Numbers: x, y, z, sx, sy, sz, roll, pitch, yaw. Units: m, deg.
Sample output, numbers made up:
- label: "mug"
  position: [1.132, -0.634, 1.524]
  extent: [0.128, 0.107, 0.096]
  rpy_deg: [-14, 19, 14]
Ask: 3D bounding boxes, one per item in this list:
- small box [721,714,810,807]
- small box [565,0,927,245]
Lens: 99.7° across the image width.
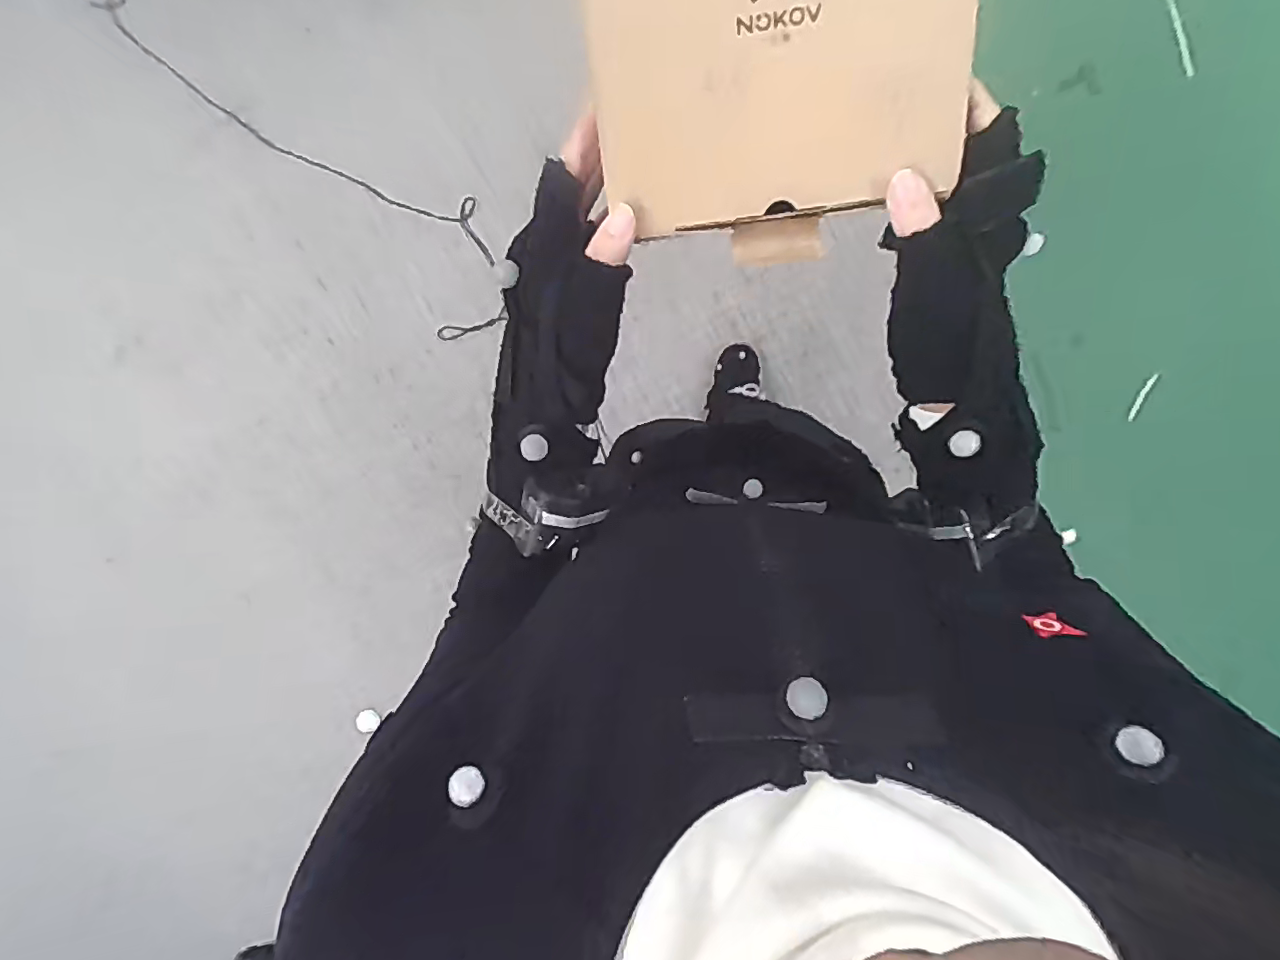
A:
- label: "small box"
  position: [0.321, 0.756, 1.427]
  extent: [0.179, 0.176, 0.168]
  rpy_deg: [-23, 98, 5]
- label: "small box"
  position: [0.053, -0.249, 0.324]
  extent: [0.168, 0.176, 0.179]
  rpy_deg: [-8, 113, 6]
